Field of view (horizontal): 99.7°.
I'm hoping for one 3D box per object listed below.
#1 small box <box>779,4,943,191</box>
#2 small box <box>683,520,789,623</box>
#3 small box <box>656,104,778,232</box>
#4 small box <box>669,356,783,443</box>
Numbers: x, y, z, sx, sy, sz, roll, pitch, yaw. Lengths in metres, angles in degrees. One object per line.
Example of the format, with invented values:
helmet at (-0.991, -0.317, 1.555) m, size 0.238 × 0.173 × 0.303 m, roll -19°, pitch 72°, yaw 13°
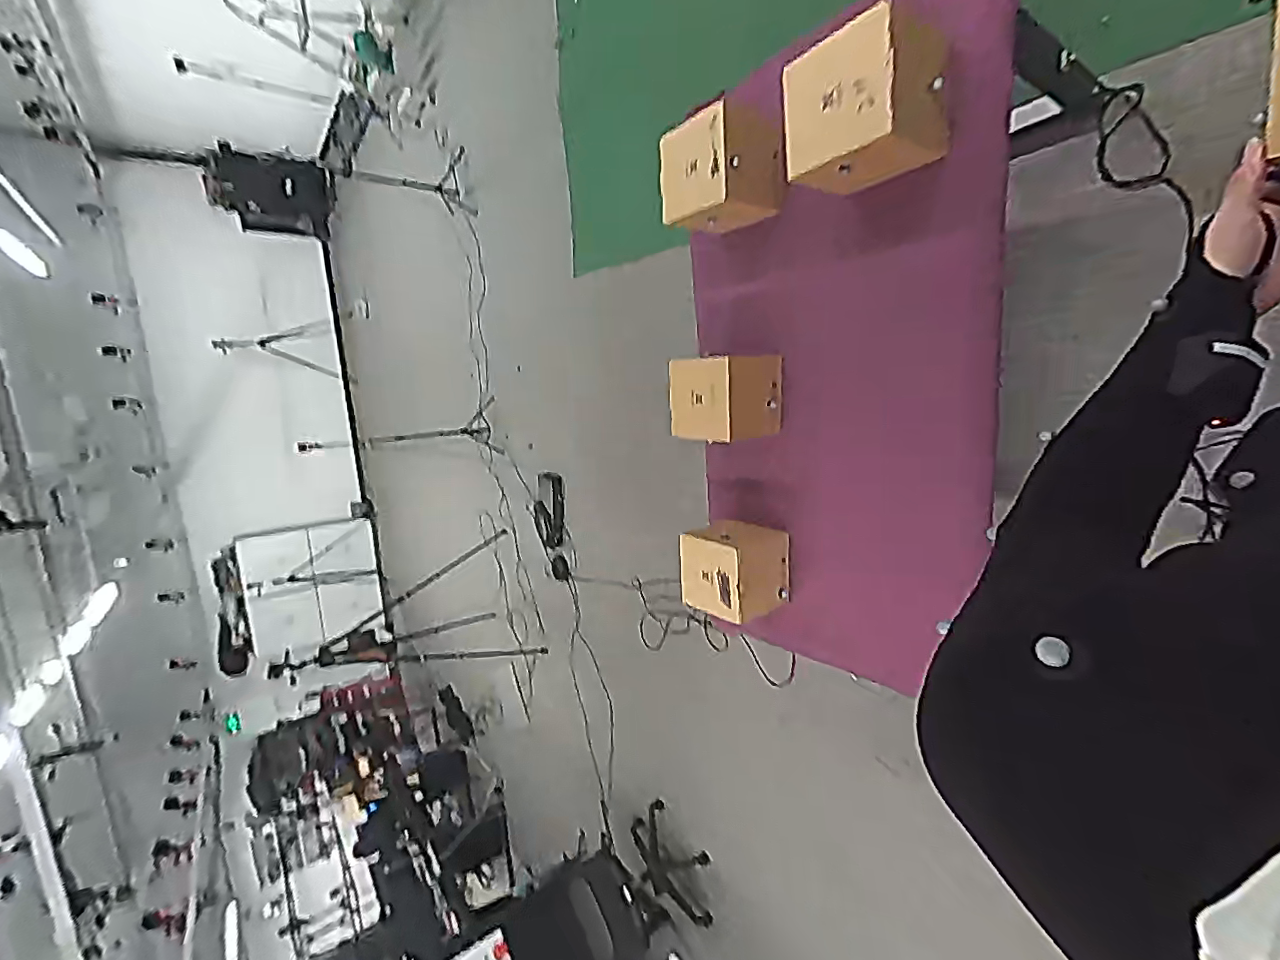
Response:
small box at (0.340, -0.567, 0.835) m, size 0.179 × 0.176 × 0.168 m, roll 6°, pitch 106°, yaw 52°
small box at (0.220, 0.195, 1.214) m, size 0.179 × 0.176 × 0.168 m, roll 8°, pitch 106°, yaw 51°
small box at (0.153, -0.604, 1.074) m, size 0.179 × 0.176 × 0.168 m, roll 9°, pitch 108°, yaw 51°
small box at (0.184, -0.177, 1.161) m, size 0.179 × 0.176 × 0.168 m, roll 11°, pitch 109°, yaw 50°
